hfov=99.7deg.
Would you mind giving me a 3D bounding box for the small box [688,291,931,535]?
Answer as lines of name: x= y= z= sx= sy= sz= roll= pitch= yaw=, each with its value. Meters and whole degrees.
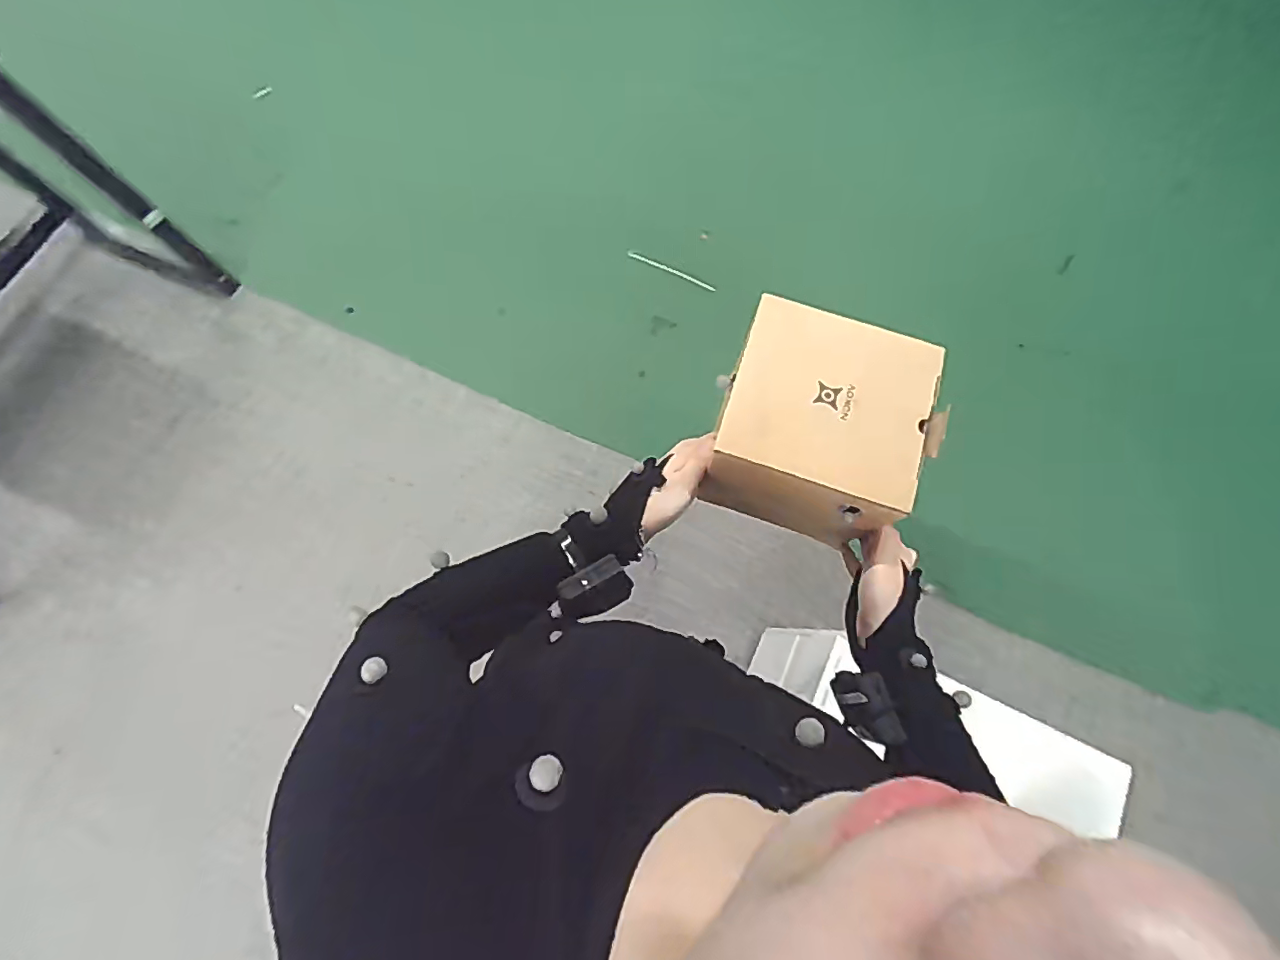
small box: x=0.157 y=-0.055 z=0.551 sx=0.179 sy=0.176 sz=0.168 roll=18 pitch=74 yaw=4
